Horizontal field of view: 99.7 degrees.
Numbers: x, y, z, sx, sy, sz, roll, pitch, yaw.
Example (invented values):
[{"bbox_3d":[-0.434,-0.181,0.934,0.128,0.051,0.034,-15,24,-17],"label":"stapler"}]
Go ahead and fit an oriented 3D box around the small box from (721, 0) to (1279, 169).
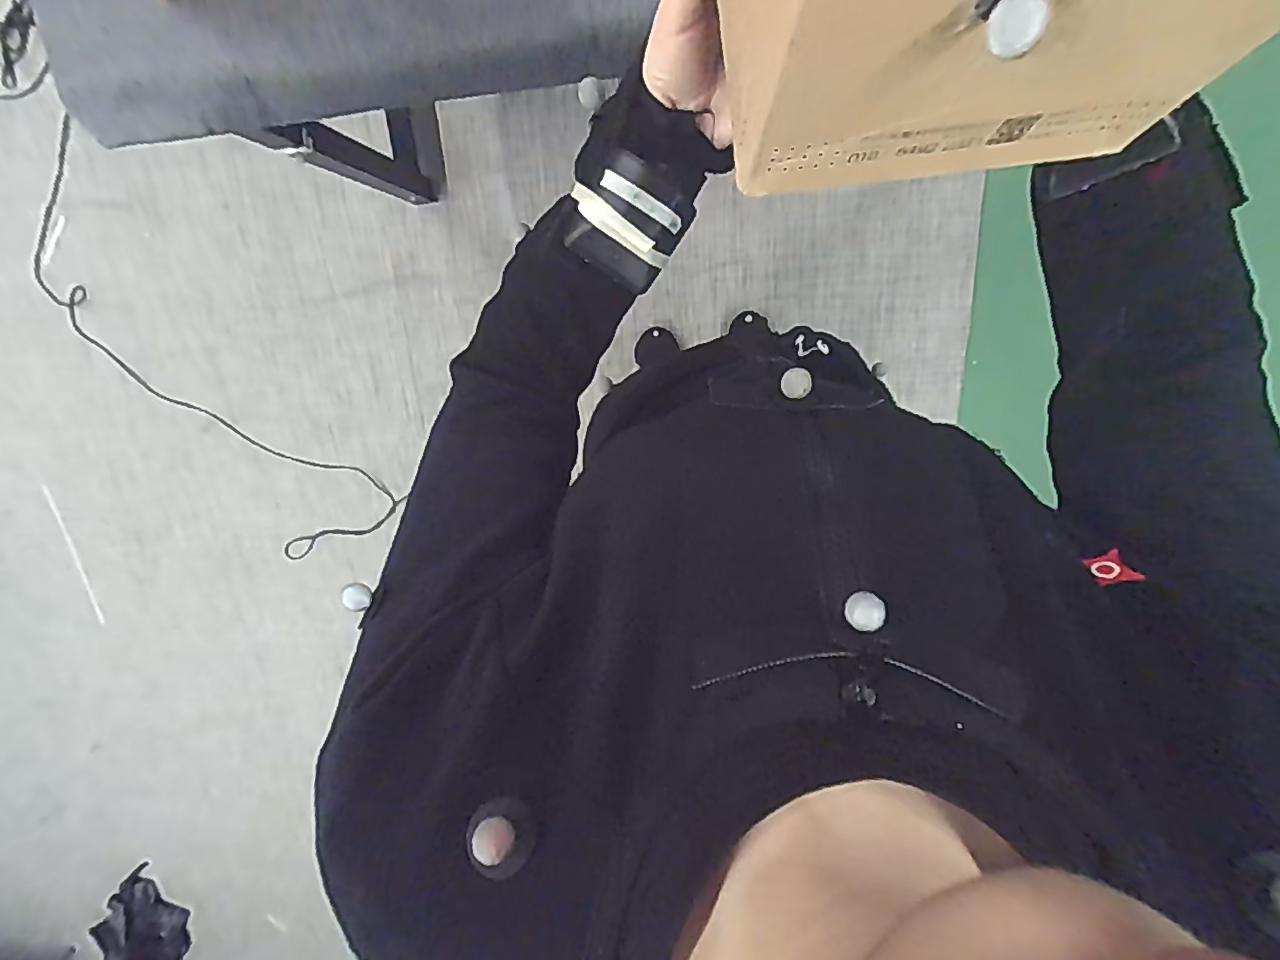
[{"bbox_3d":[0.113,-0.219,0.157,0.168,0.176,0.179,-6,88,3],"label":"small box"}]
